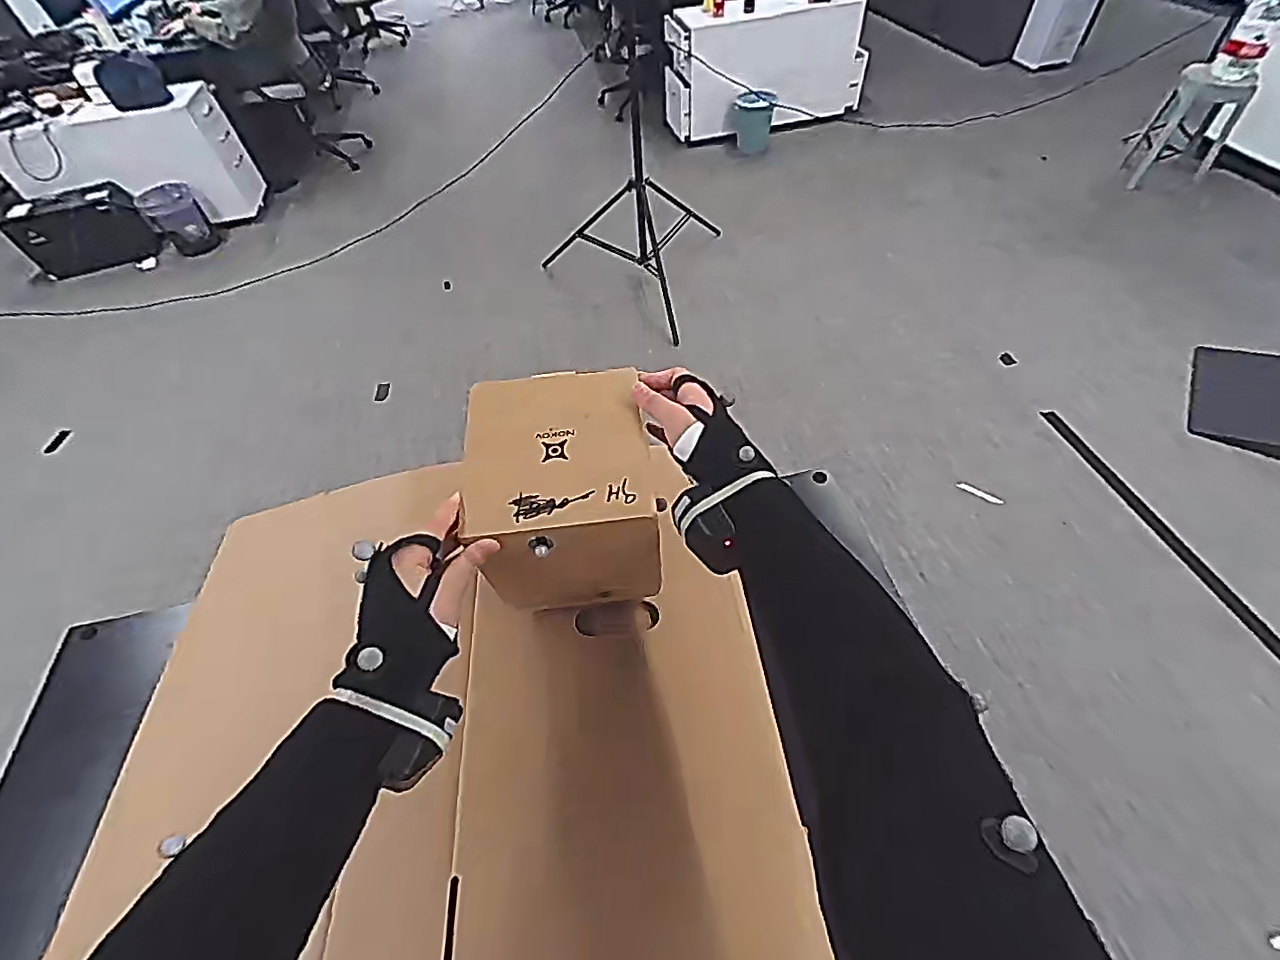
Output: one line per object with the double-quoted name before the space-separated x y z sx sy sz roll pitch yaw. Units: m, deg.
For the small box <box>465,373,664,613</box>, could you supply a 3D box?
"small box" -0.067 0.016 0.558 0.168 0.176 0.179 -7 54 -1
